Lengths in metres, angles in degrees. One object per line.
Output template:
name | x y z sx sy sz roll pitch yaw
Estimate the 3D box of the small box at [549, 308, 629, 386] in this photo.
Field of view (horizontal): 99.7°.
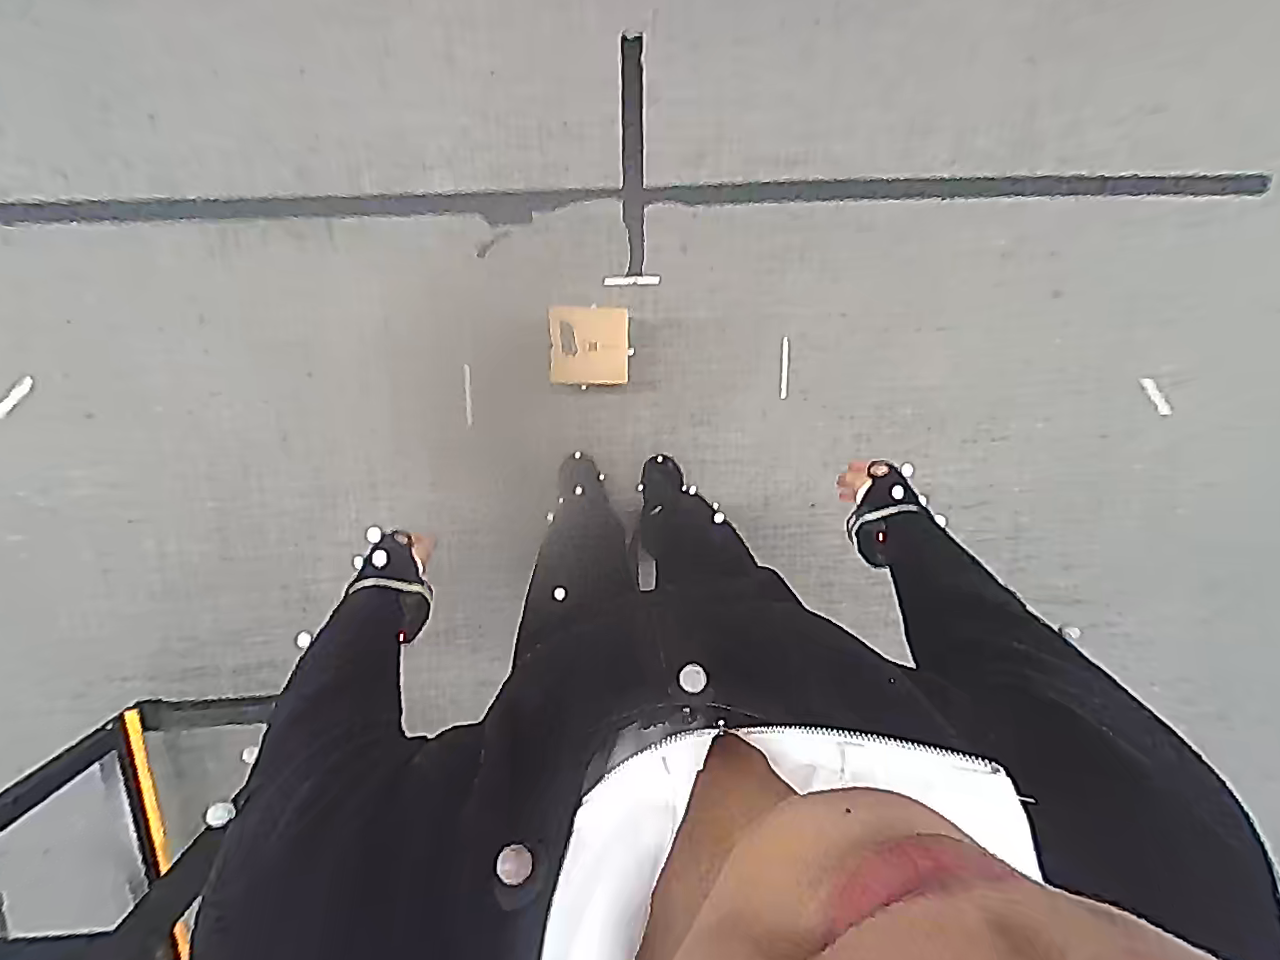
small box | -0.117 -0.306 1.272 0.179 0.176 0.168 1 101 -4
